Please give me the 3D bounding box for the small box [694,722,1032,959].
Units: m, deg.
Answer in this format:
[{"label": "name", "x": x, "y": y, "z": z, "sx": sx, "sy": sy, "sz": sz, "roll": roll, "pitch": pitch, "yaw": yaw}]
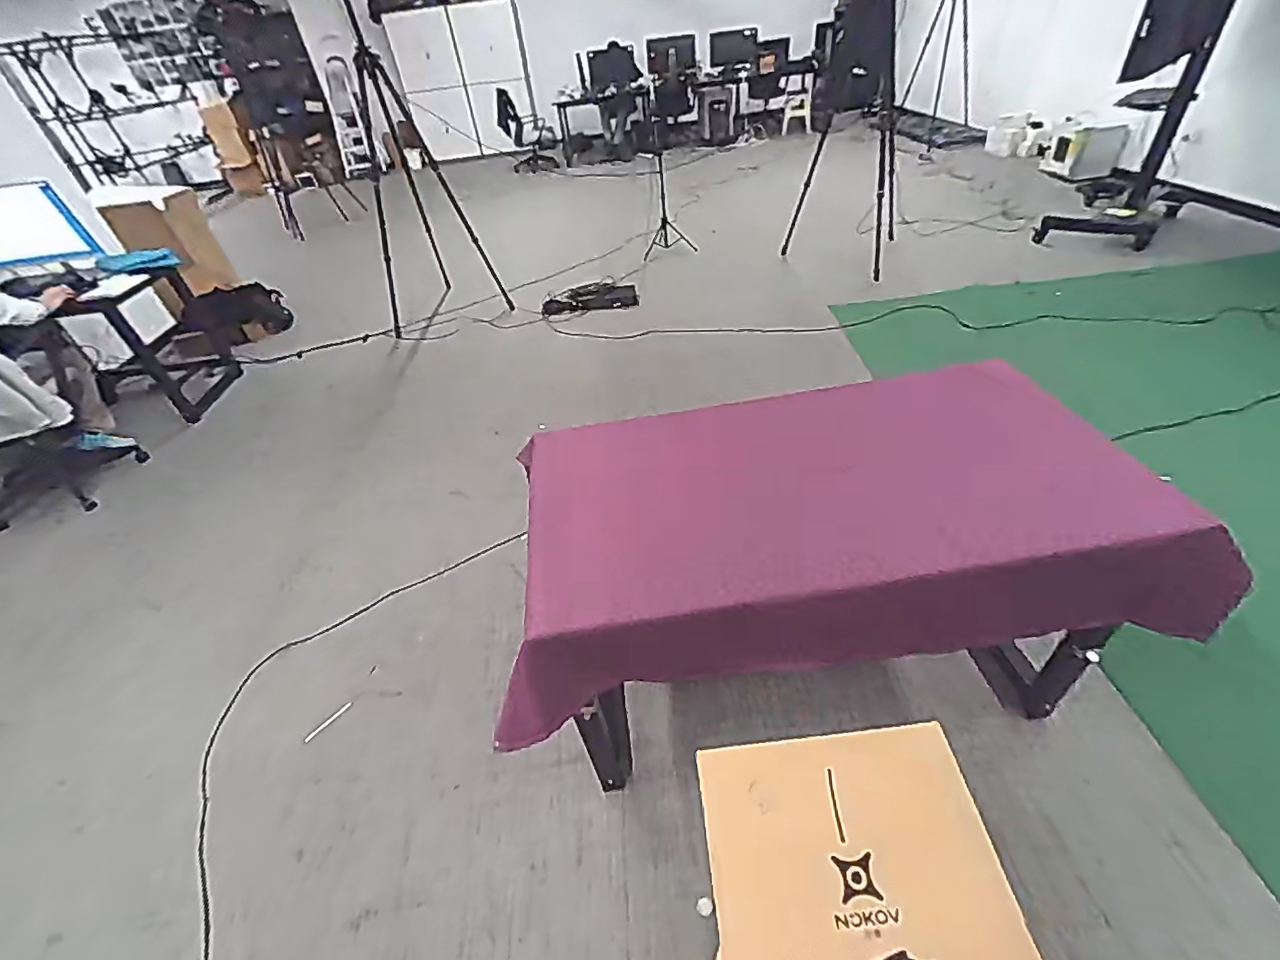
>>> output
[{"label": "small box", "x": 0.135, "y": 0.291, "z": 0.368, "sx": 0.168, "sy": 0.176, "sz": 0.179, "roll": -9, "pitch": 46, "yaw": 4}]
